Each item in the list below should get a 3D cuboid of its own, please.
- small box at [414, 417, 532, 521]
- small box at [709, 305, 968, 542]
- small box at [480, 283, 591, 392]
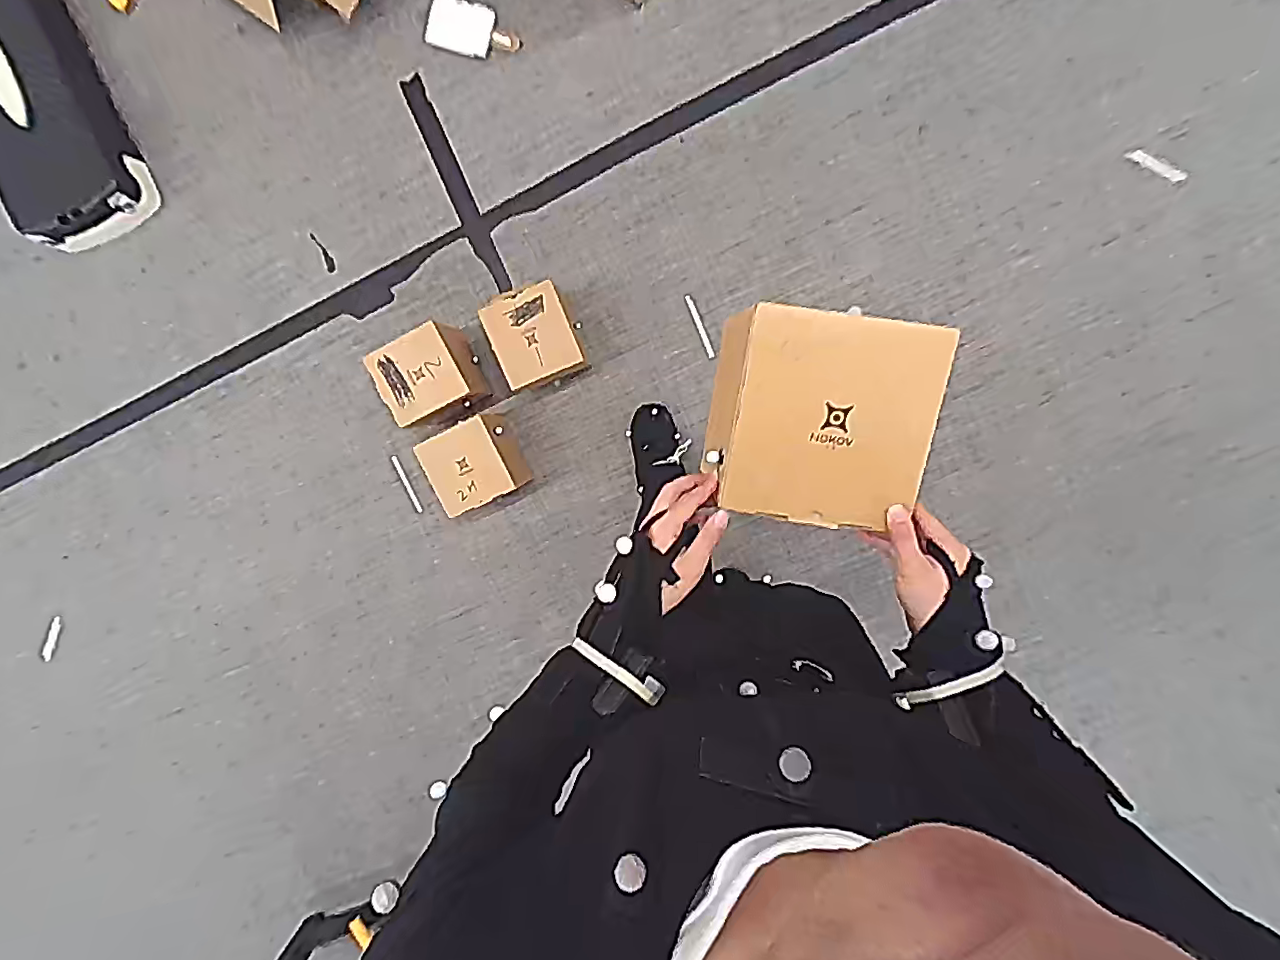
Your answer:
[{"bbox_3d":[-0.367,-0.032,1.217,0.168,0.176,0.179,-25,97,6],"label":"small box"},{"bbox_3d":[0.165,-0.059,0.514,0.168,0.176,0.179,7,103,-1],"label":"small box"},{"bbox_3d":[-0.218,-0.299,1.172,0.168,0.176,0.179,-21,98,5],"label":"small box"}]
